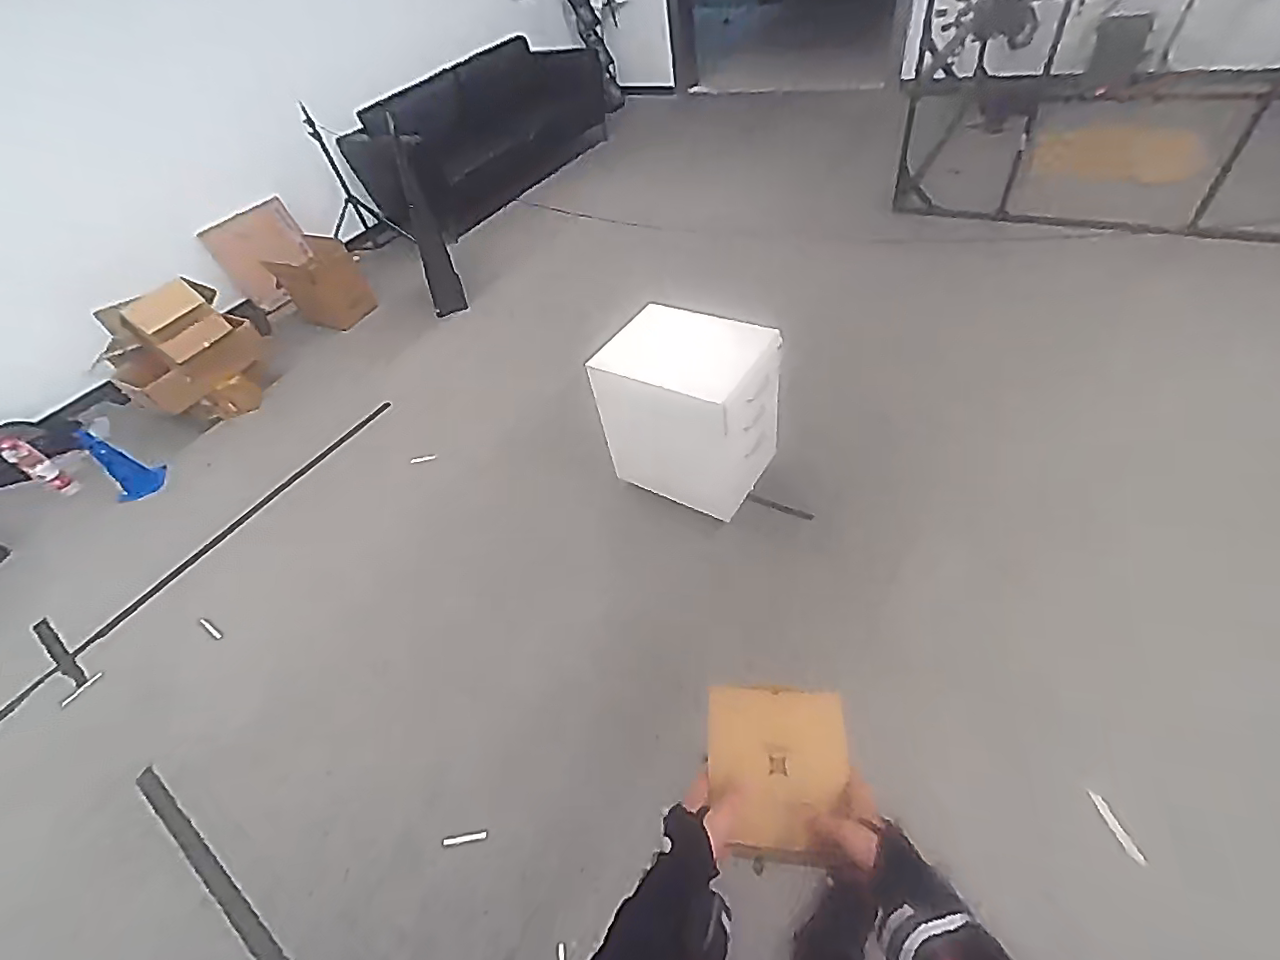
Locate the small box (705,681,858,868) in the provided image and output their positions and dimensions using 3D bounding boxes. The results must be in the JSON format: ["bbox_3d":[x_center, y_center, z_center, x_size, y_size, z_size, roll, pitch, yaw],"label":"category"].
[{"bbox_3d":[0.171,0.383,0.704,0.168,0.176,0.179,1,51,8],"label":"small box"}]
